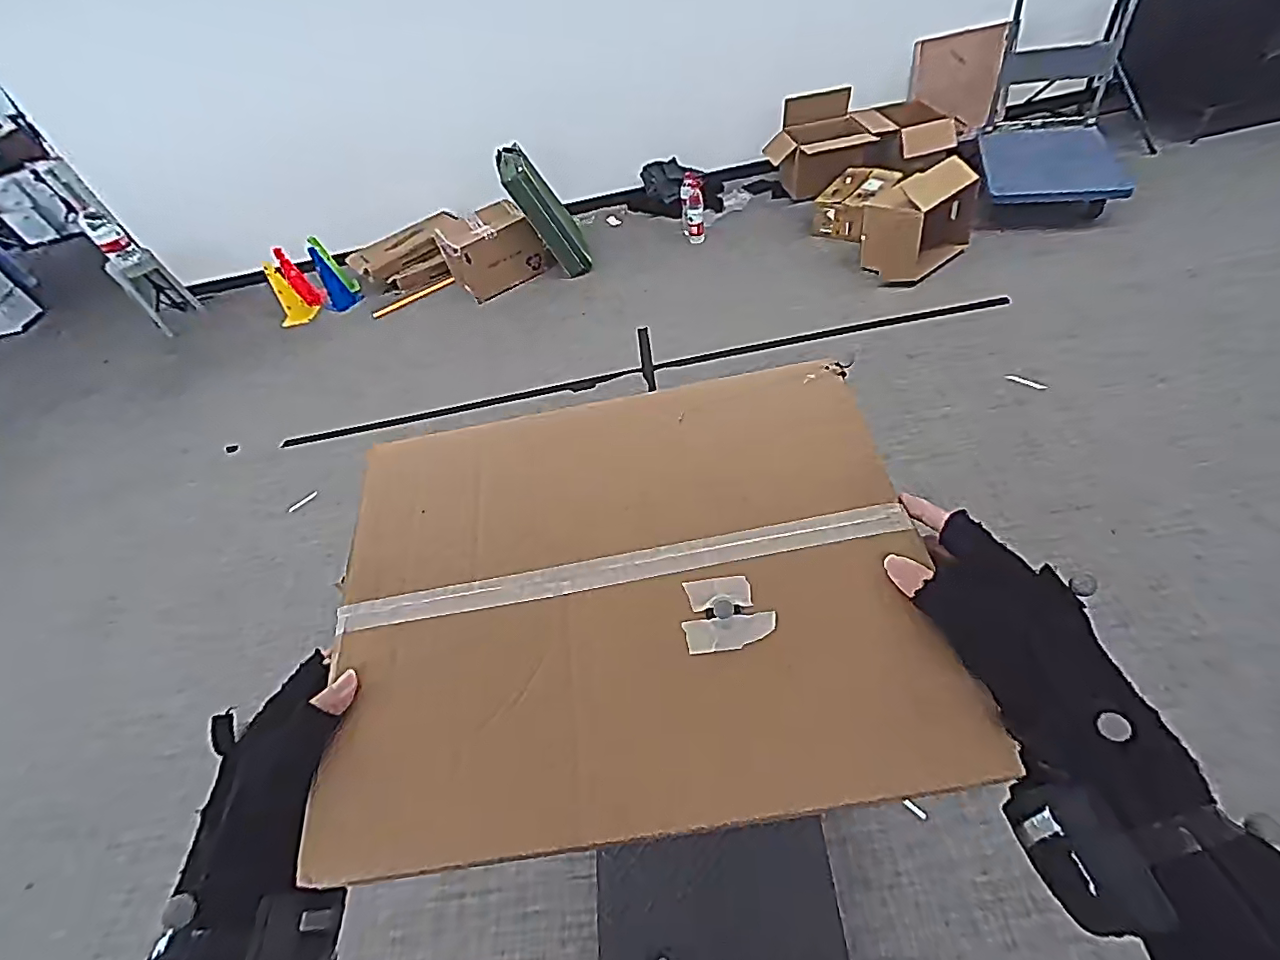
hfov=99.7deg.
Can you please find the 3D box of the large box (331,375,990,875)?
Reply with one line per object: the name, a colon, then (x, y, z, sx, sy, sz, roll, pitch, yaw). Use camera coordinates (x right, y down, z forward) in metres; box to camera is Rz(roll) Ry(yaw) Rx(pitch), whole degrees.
large box: (0.006, 0.150, 0.520, 0.408, 0.320, 0.320, -11, 57, 2)
